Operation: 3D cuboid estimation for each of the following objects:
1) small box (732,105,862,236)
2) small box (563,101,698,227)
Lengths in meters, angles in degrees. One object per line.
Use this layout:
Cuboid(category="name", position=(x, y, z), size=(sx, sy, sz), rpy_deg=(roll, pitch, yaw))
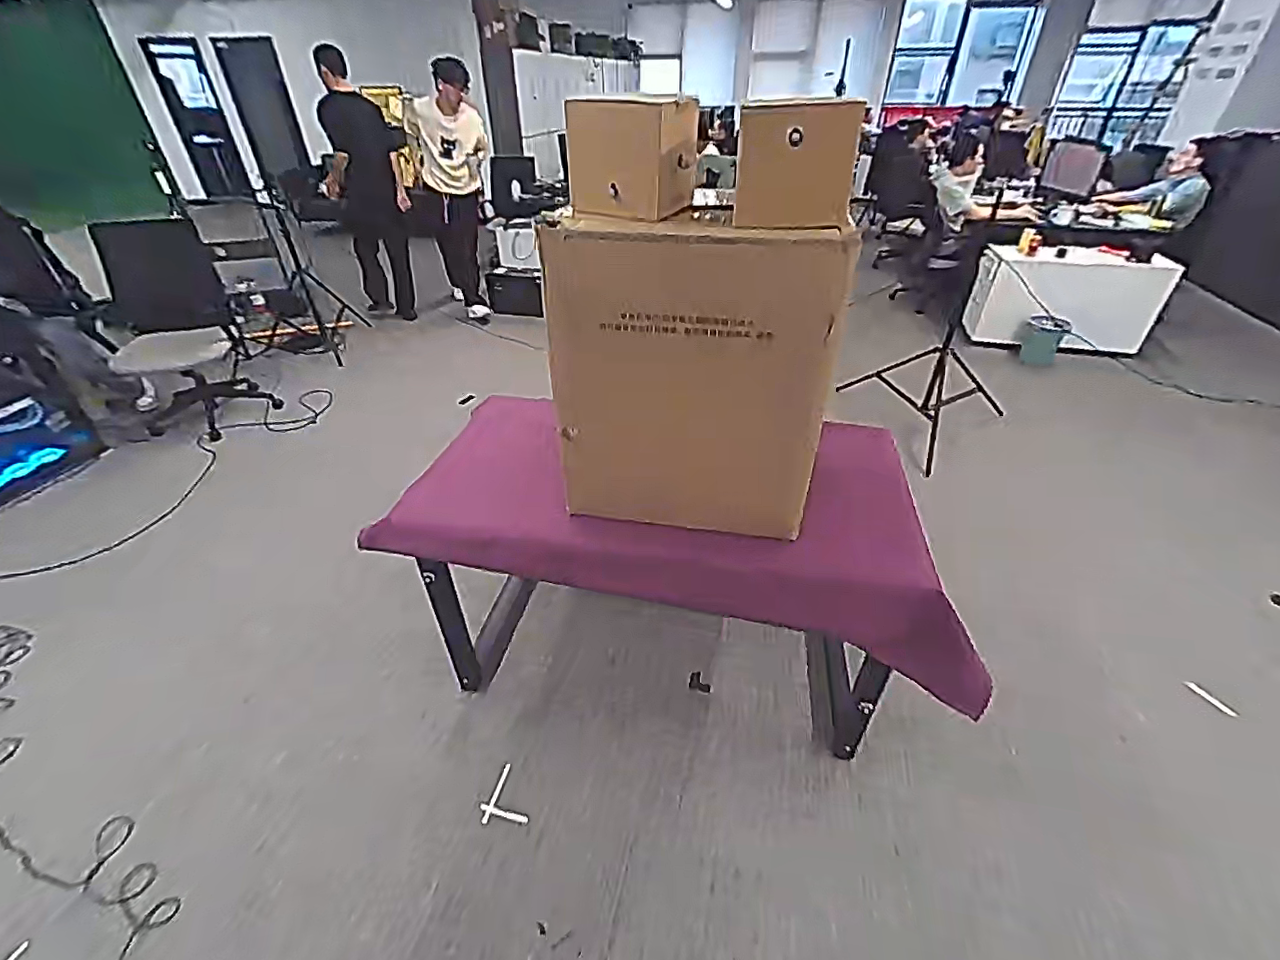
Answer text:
Cuboid(category="small box", position=(0.243, -0.501, 0.876), size=(0.179, 0.176, 0.168), rpy_deg=(5, 37, 9))
Cuboid(category="small box", position=(-0.012, -0.554, 0.947), size=(0.179, 0.176, 0.168), rpy_deg=(17, 41, 20))
